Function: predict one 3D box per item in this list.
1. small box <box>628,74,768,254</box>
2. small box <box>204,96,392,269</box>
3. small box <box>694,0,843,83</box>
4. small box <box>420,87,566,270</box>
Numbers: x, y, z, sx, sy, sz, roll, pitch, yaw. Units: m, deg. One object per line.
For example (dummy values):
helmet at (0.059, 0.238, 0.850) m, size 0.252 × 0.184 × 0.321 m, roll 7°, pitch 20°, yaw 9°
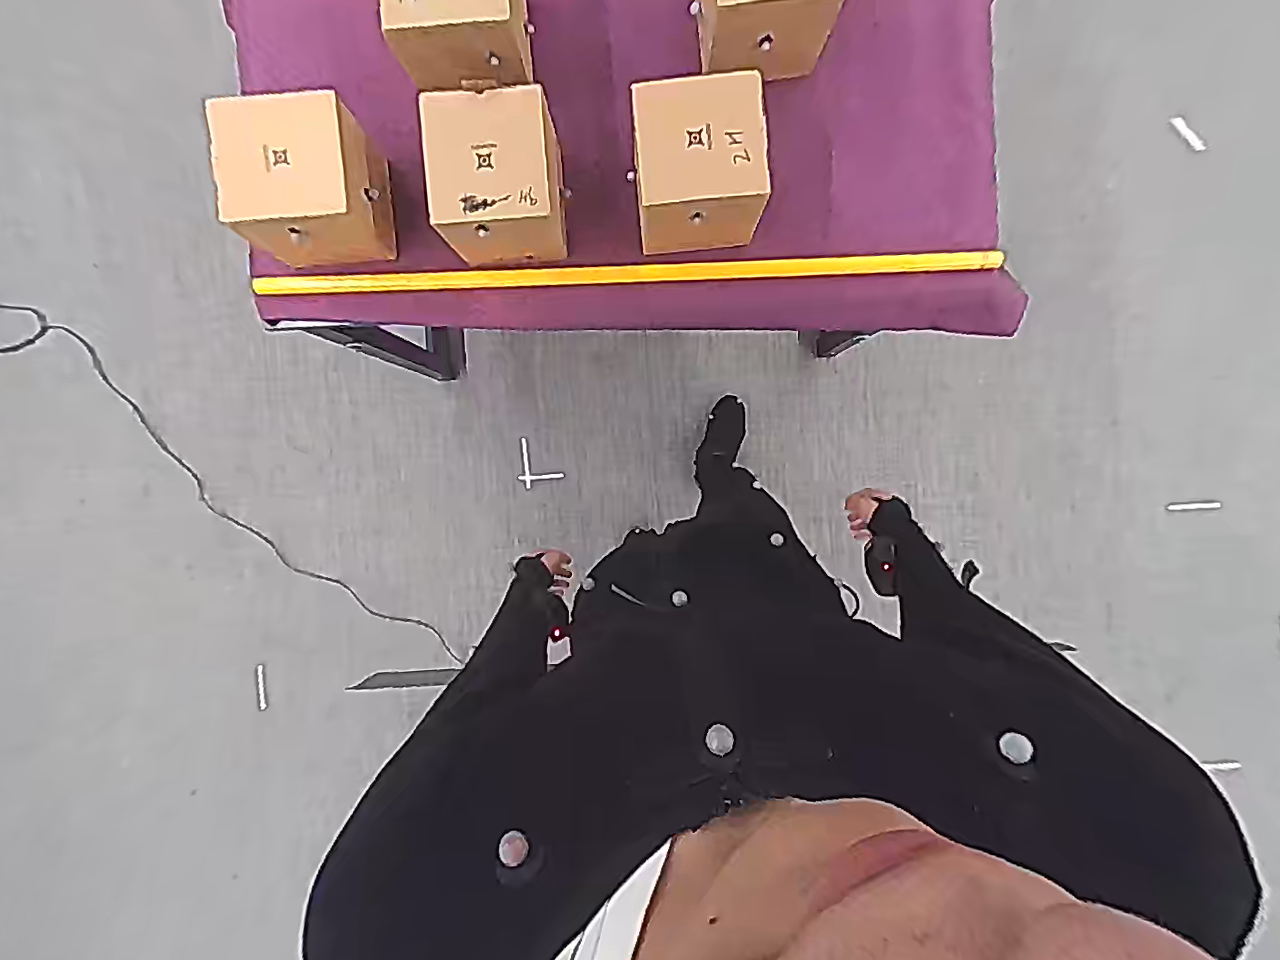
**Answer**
small box at (0.079, -0.448, 0.795) m, size 0.179 × 0.176 × 0.168 m, roll -5°, pitch 91°, yaw 1°
small box at (-0.488, -0.428, 0.803) m, size 0.179 × 0.176 × 0.168 m, roll -5°, pitch 92°, yaw 0°
small box at (0.177, -0.712, 0.784) m, size 0.179 × 0.176 × 0.168 m, roll -6°, pitch 93°, yaw 2°
small box at (-0.207, -0.432, 0.799) m, size 0.168 × 0.176 × 0.179 m, roll -4°, pitch 91°, yaw 2°
